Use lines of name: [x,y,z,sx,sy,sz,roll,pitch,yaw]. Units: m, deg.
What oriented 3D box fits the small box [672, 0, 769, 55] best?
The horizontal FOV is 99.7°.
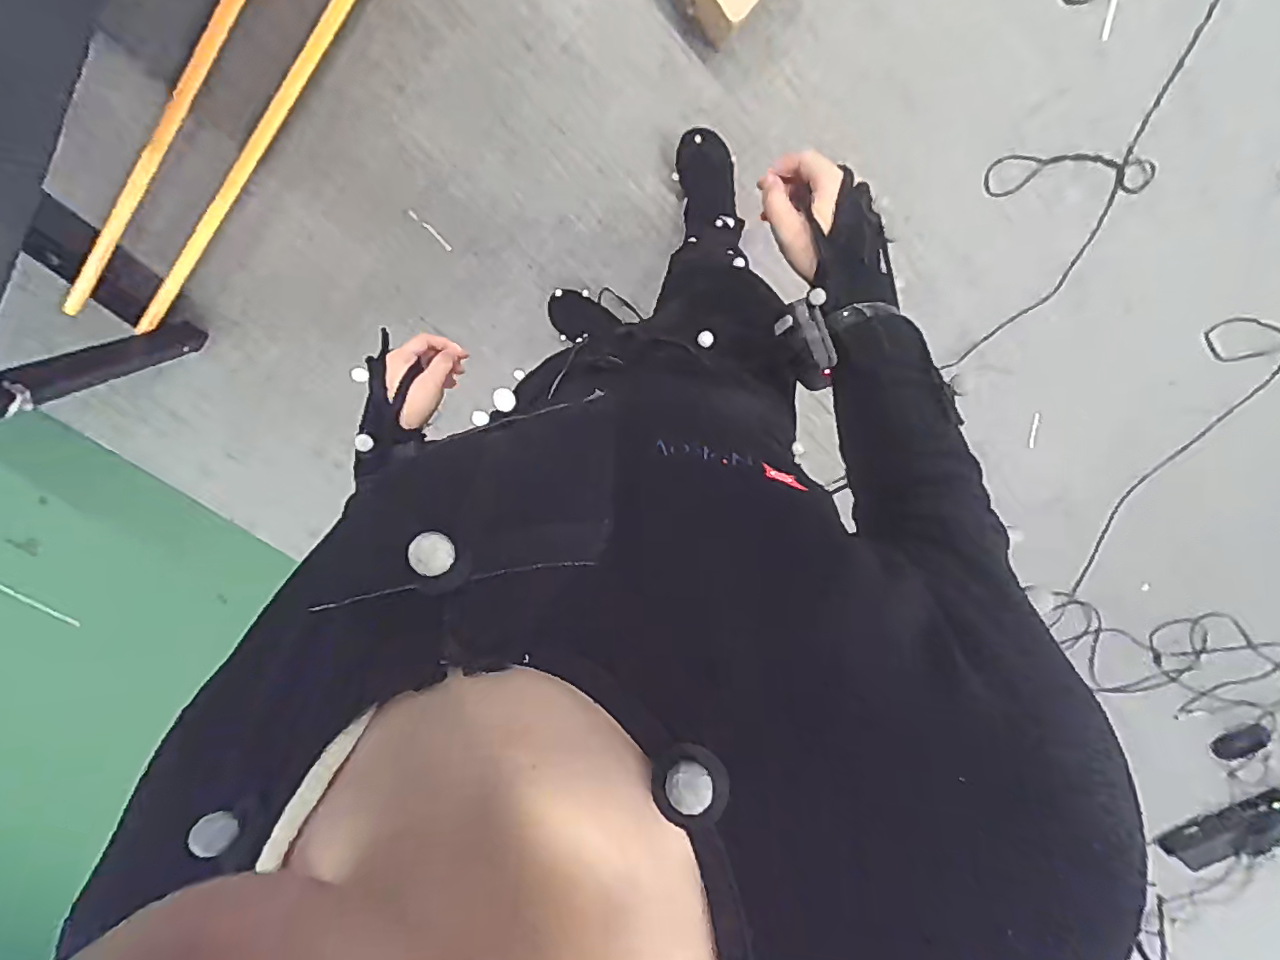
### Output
small box: [0.153,-0.880,0.915,0.179,0.176,0.168,-42,110,17]
